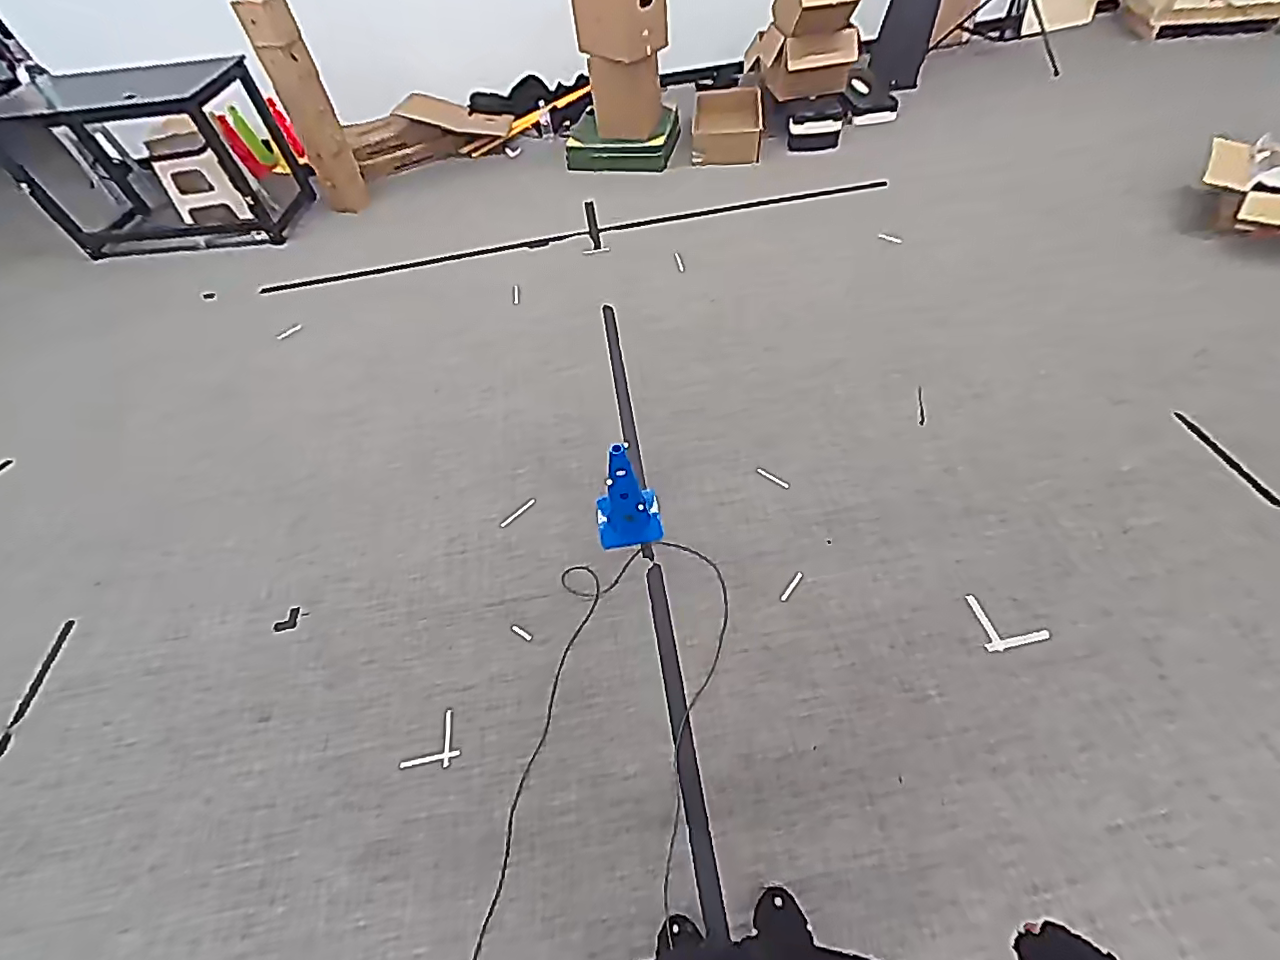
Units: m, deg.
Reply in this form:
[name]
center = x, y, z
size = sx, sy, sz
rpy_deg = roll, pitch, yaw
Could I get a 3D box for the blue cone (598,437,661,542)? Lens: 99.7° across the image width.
[blue cone]
center = -0.049, 0.014, 1.603
size = 0.193, 0.380, 0.192
rpy_deg = -11, 53, -1
